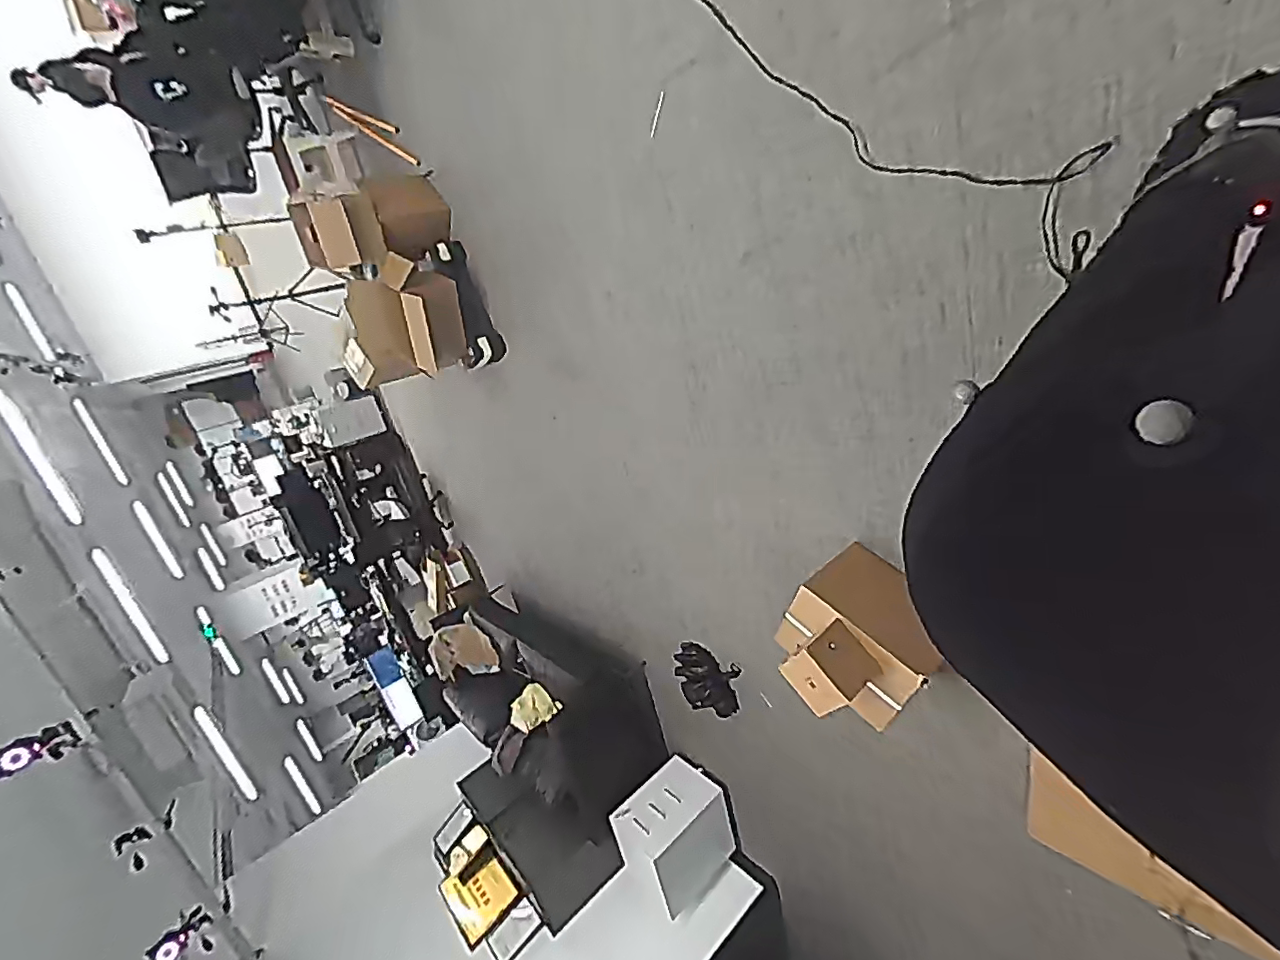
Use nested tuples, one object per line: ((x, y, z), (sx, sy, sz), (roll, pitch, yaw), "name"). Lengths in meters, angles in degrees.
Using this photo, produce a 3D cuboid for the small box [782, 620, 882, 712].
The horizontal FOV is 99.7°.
((0.553, 0.528, 1.560), (0.179, 0.176, 0.168), (49, 145, 19), "small box")
